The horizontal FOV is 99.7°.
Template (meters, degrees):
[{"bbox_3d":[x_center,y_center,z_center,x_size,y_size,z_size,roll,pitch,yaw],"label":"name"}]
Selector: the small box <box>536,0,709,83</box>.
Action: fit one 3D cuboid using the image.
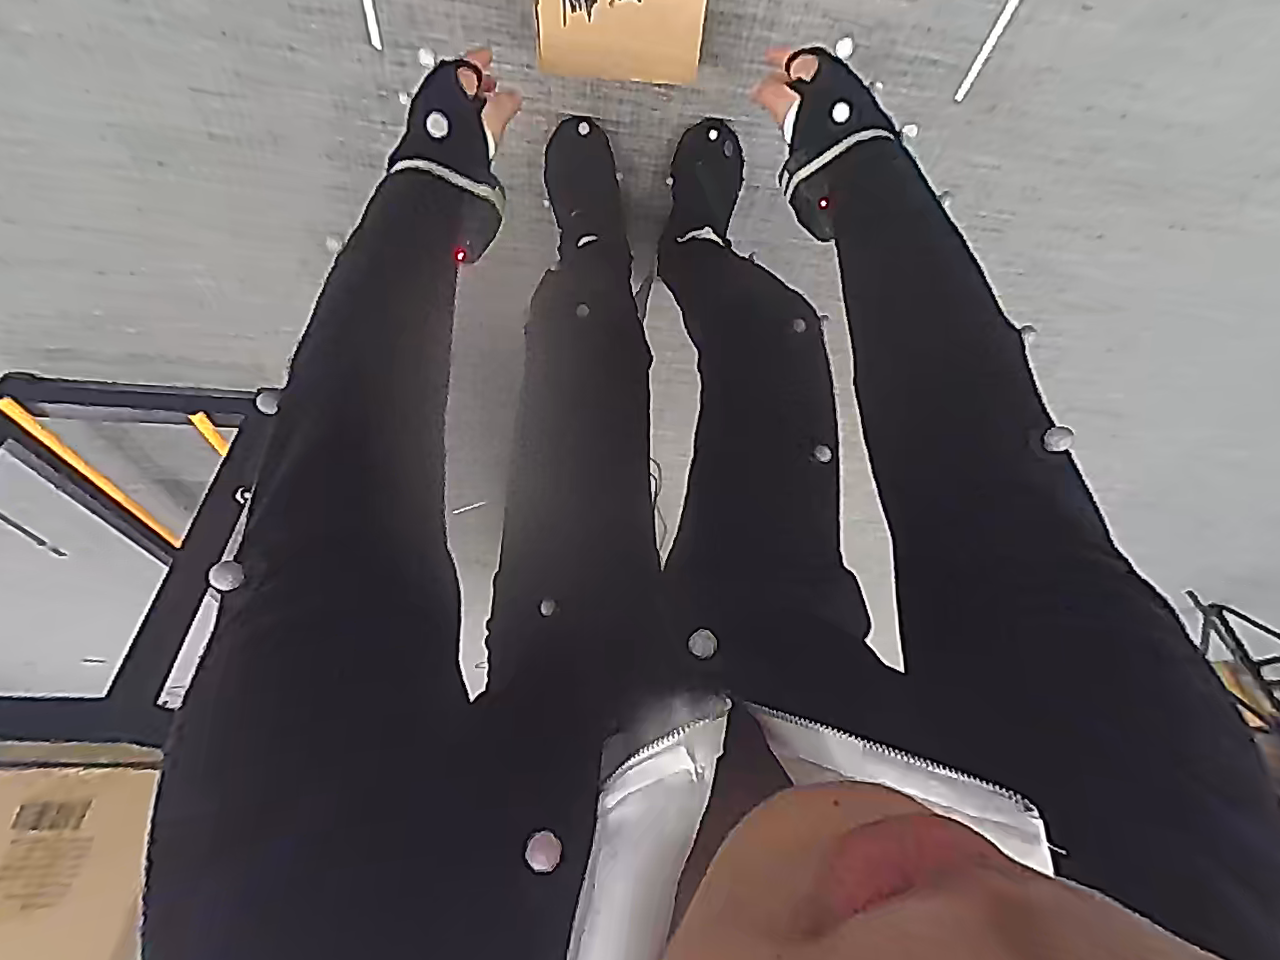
[{"bbox_3d":[-0.017,-0.555,0.571,0.179,0.176,0.168,1,147,-5],"label":"small box"}]
